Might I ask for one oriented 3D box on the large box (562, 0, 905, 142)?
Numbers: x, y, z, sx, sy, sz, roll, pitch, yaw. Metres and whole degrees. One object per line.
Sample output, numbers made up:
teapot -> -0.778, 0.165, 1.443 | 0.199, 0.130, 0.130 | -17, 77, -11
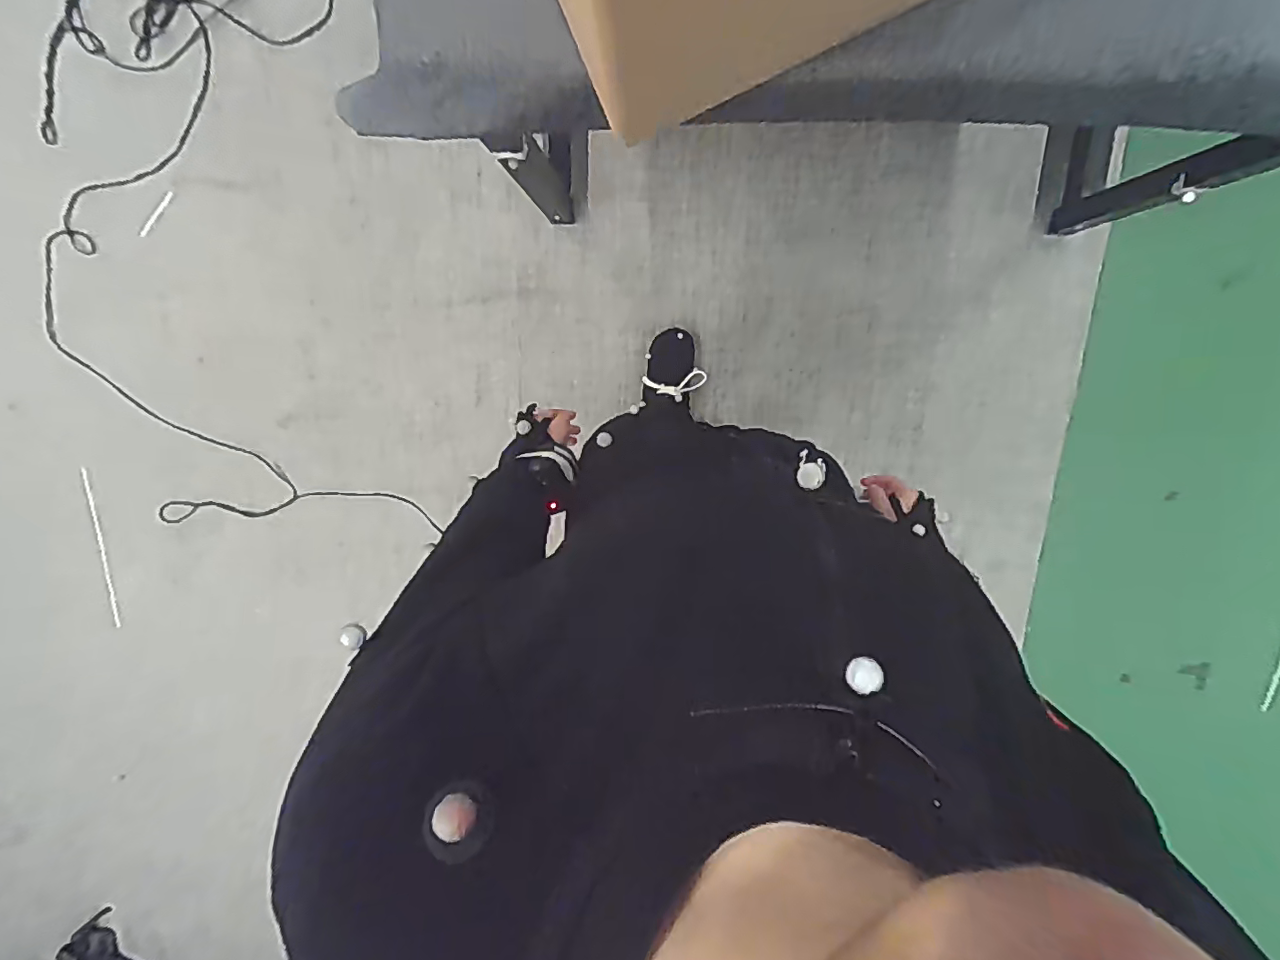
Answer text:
large box -> 0.095, -0.527, 0.364 | 0.408, 0.320, 0.320 | -24, 100, 5
